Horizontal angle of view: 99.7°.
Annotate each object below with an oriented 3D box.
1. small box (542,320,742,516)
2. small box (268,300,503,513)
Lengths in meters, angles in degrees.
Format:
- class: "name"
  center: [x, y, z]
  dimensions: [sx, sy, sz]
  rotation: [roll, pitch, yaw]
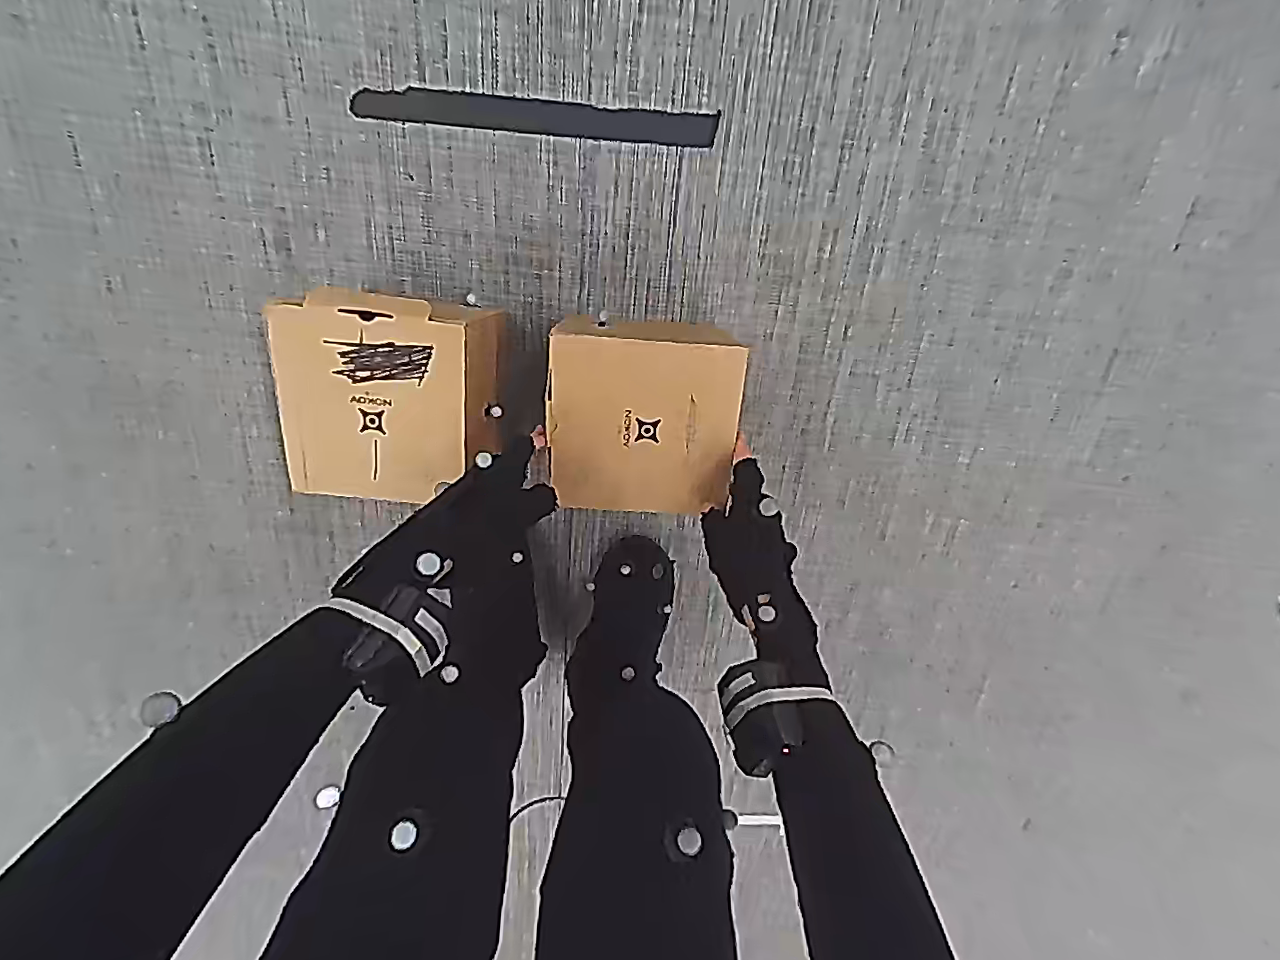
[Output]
- class: "small box"
  center: [-0.004, -0.074, 0.573]
  dimensions: [0.179, 0.176, 0.168]
  rotation: [2, 113, -3]
- class: "small box"
  center: [-0.242, -0.085, 0.560]
  dimensions: [0.168, 0.176, 0.179]
  rotation: [6, 112, -4]
